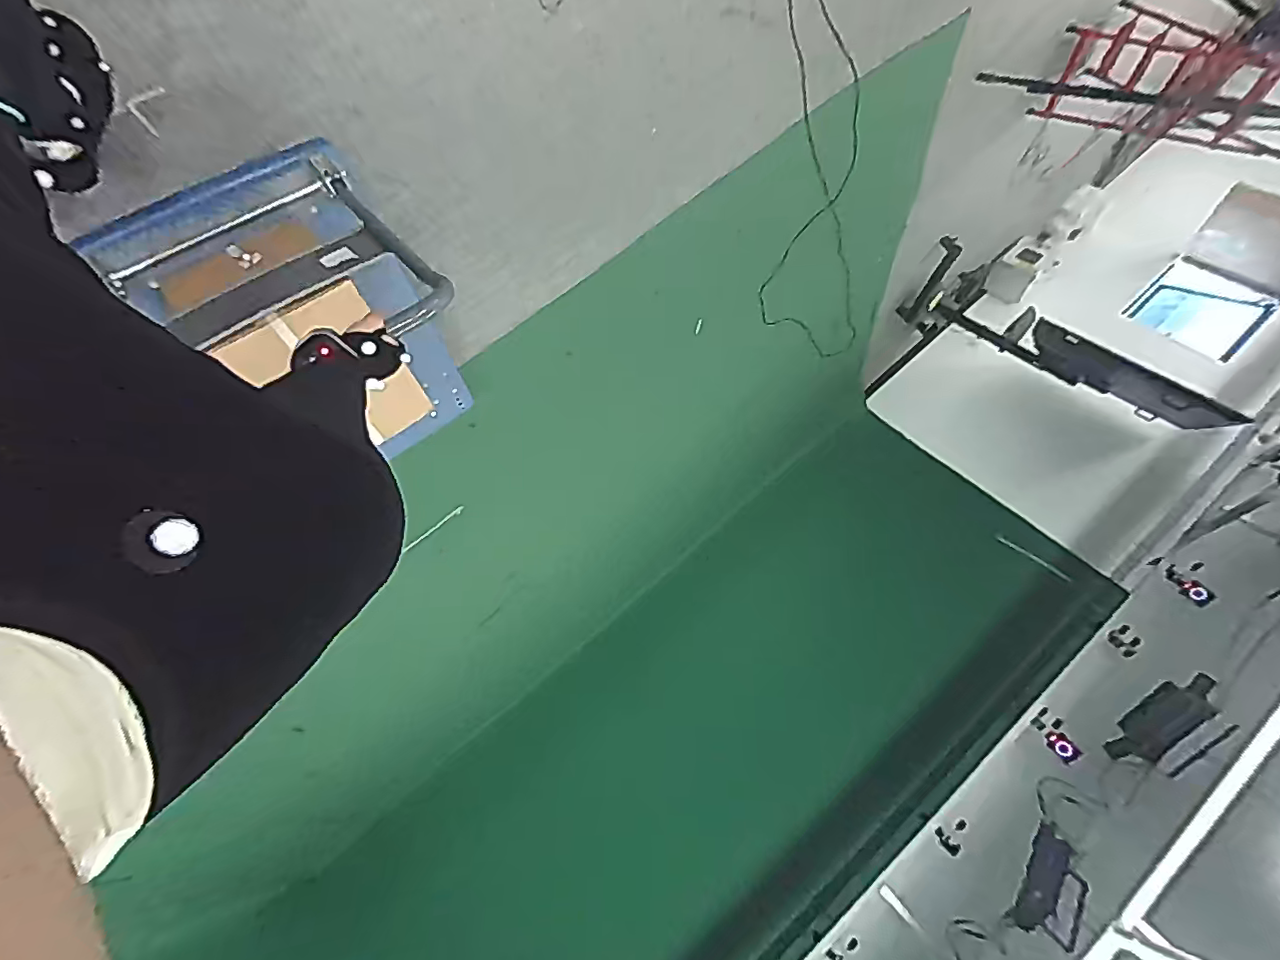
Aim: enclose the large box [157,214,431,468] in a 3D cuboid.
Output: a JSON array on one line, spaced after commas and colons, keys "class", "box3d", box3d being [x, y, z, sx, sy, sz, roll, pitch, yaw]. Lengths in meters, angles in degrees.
[{"class": "large box", "box3d": [-0.768, -0.310, 1.249, 0.320, 0.320, 0.408, -37, 152, -15]}]
